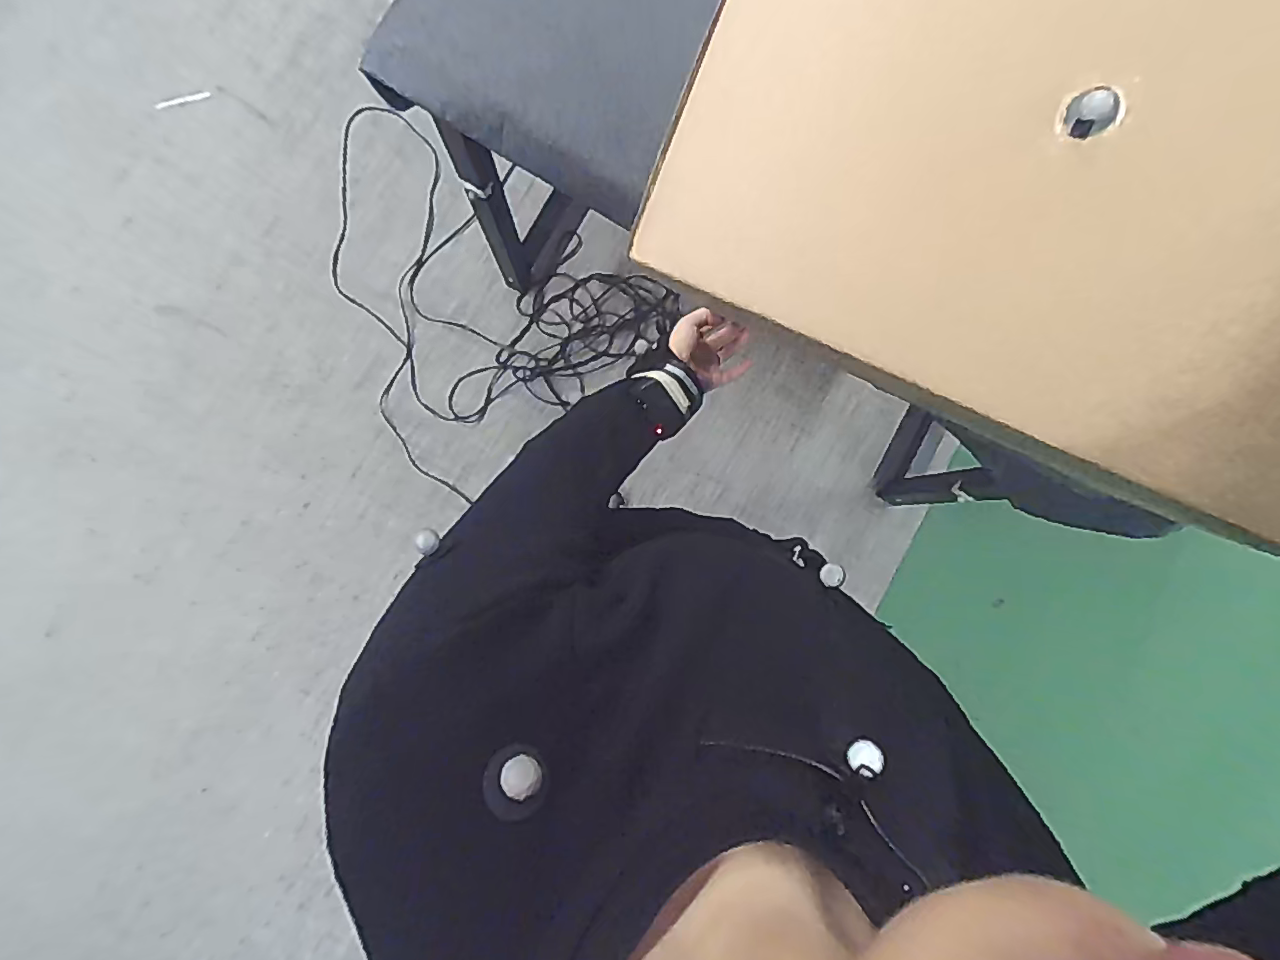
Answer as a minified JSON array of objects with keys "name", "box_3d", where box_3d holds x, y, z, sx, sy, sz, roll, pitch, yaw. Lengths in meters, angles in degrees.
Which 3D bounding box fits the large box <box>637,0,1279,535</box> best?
[{"name":"large box","box_3d":[0.271,-0.211,0.401,0.408,0.320,0.320,27,108,15]}]
